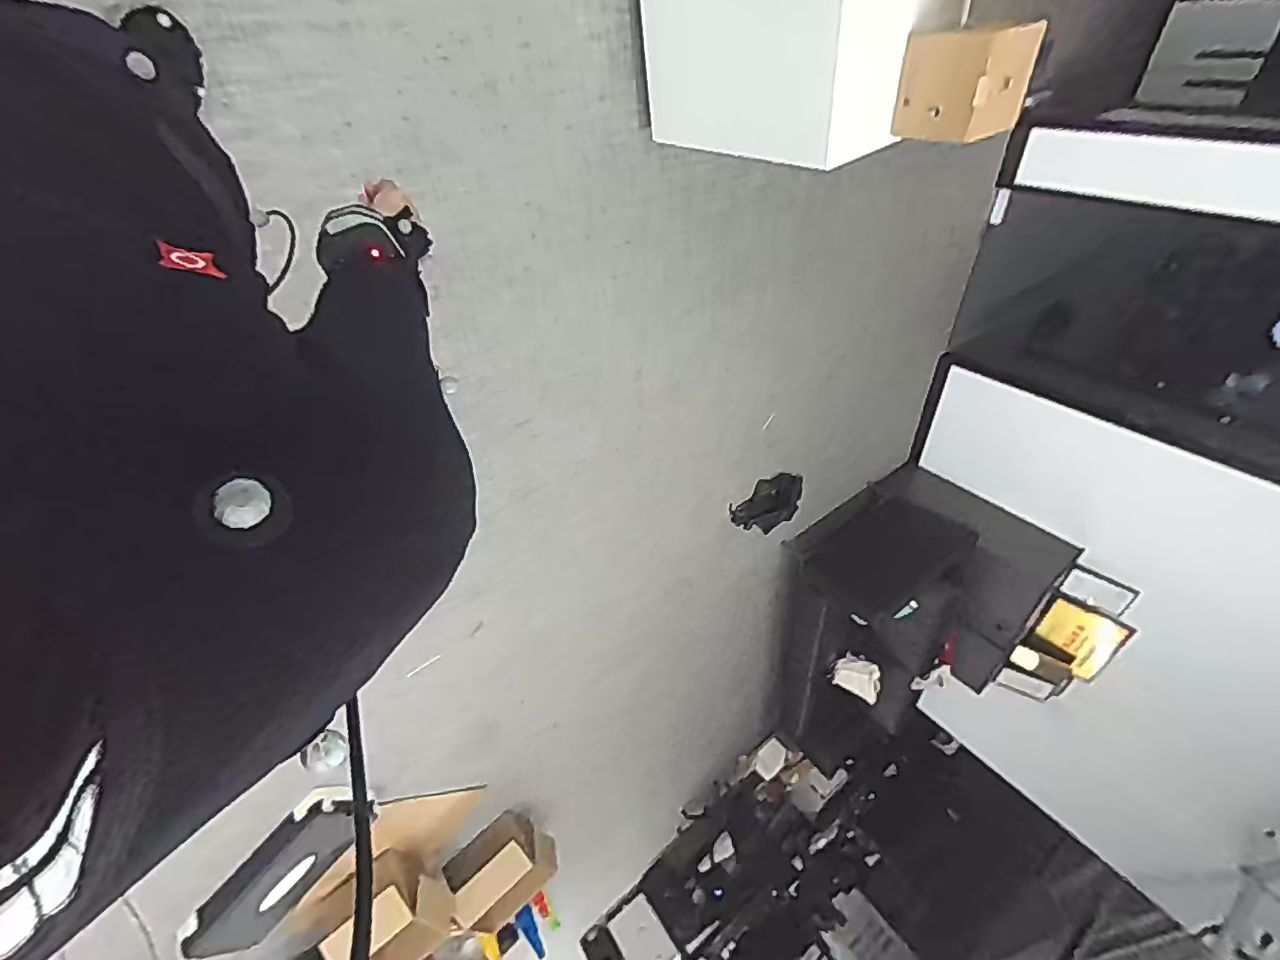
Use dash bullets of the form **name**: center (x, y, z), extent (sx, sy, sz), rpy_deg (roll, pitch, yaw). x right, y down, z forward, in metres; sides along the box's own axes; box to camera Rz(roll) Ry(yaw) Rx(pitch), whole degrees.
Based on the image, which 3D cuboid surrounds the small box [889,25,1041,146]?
- **small box**: center (0.615, -0.763, 1.046), extent (0.179, 0.176, 0.168), rpy_deg (-30, 137, -24)
